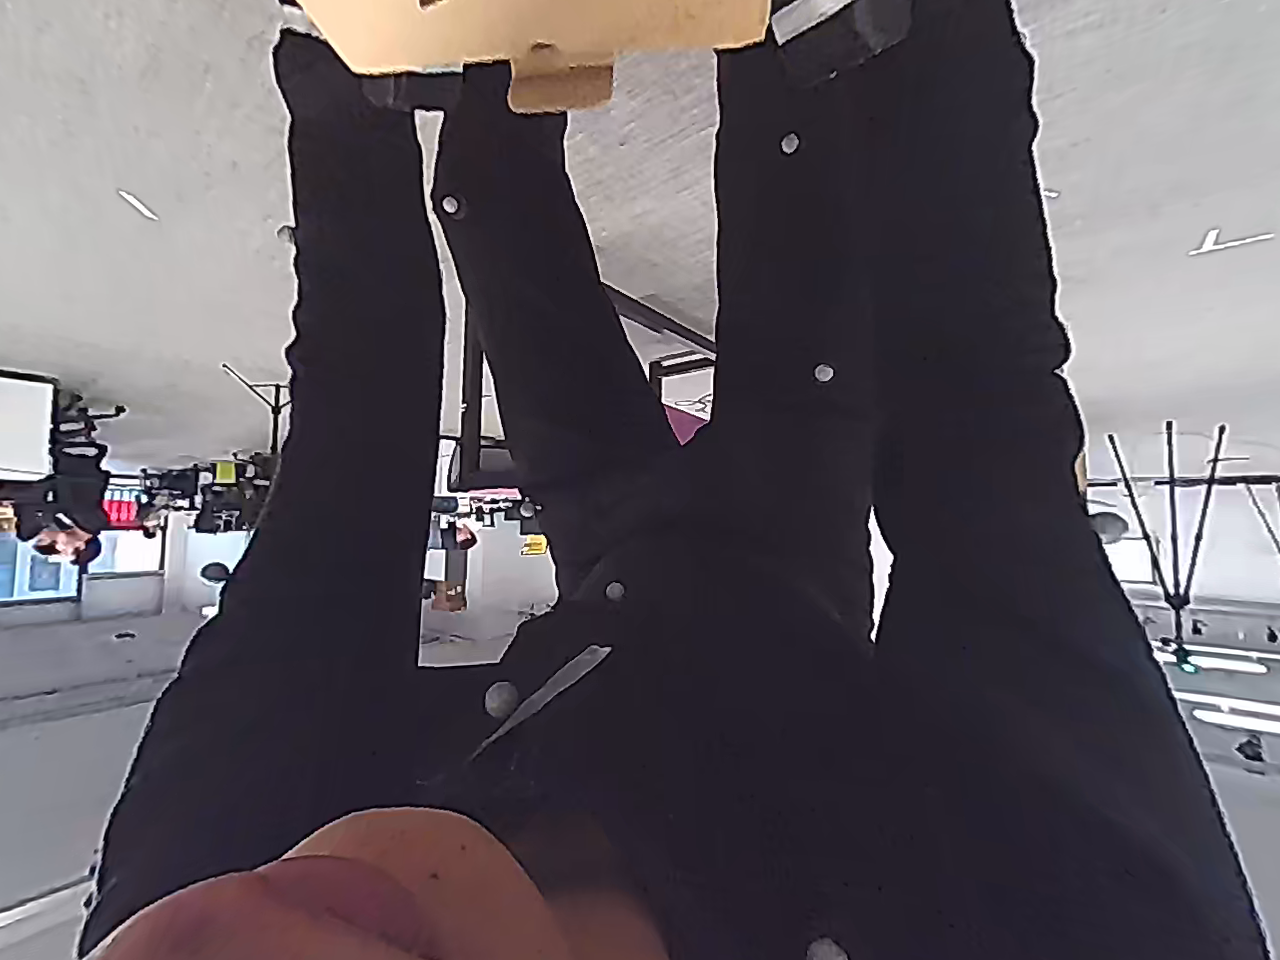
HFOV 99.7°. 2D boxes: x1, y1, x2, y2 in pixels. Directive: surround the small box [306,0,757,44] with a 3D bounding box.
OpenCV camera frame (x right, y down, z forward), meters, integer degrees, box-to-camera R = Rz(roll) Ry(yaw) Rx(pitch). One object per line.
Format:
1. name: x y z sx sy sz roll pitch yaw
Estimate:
1. small box: -0.045 -0.261 0.129 0.168 0.176 0.179 4 173 10
